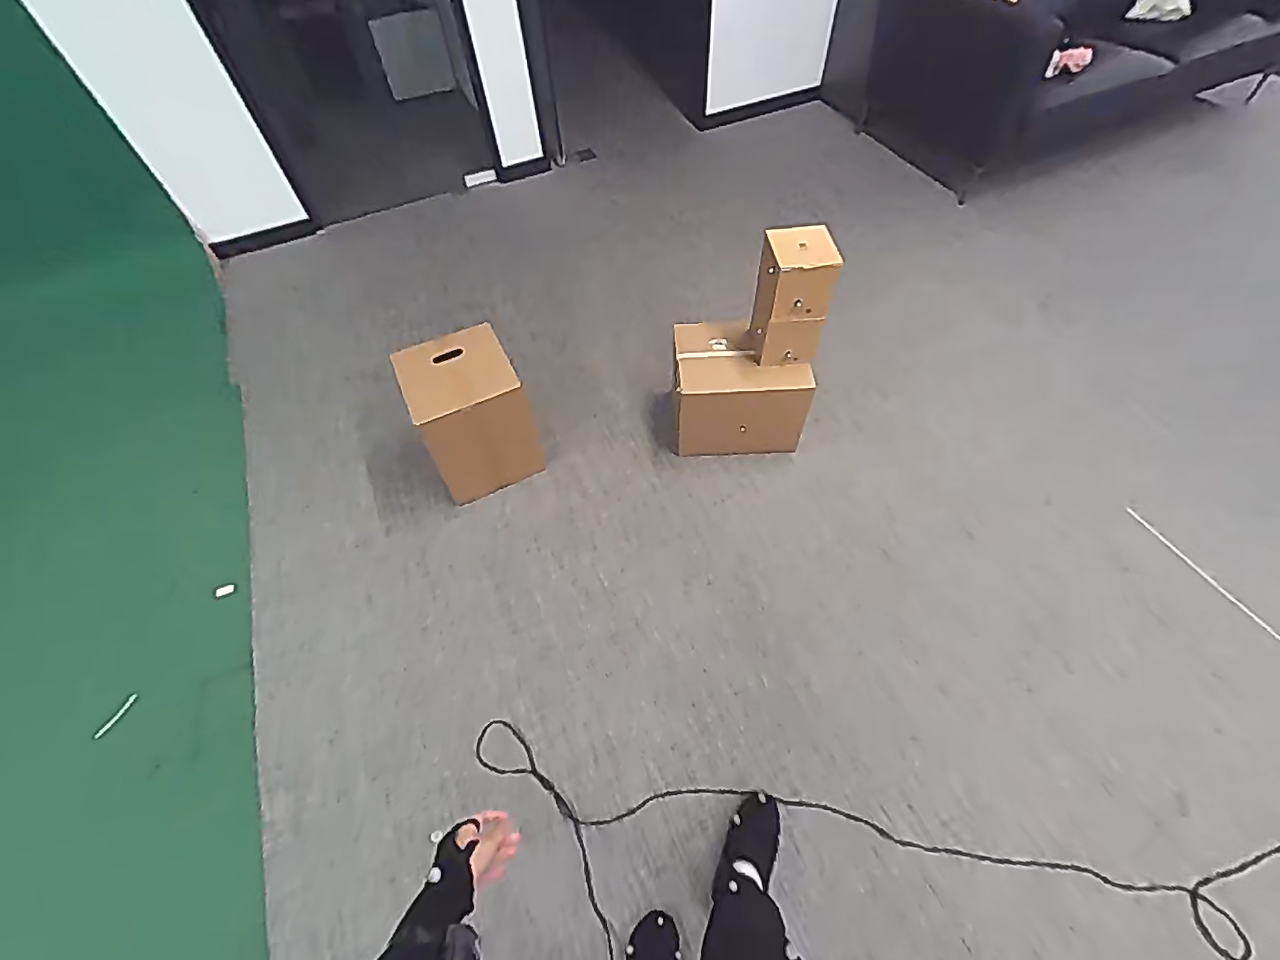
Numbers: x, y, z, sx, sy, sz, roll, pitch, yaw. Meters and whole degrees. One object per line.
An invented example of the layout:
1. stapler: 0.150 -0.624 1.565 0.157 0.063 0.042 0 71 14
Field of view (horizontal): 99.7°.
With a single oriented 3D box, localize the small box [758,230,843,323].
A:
1. small box: 0.428 -0.556 1.481 0.168 0.176 0.179 -6 56 -1
